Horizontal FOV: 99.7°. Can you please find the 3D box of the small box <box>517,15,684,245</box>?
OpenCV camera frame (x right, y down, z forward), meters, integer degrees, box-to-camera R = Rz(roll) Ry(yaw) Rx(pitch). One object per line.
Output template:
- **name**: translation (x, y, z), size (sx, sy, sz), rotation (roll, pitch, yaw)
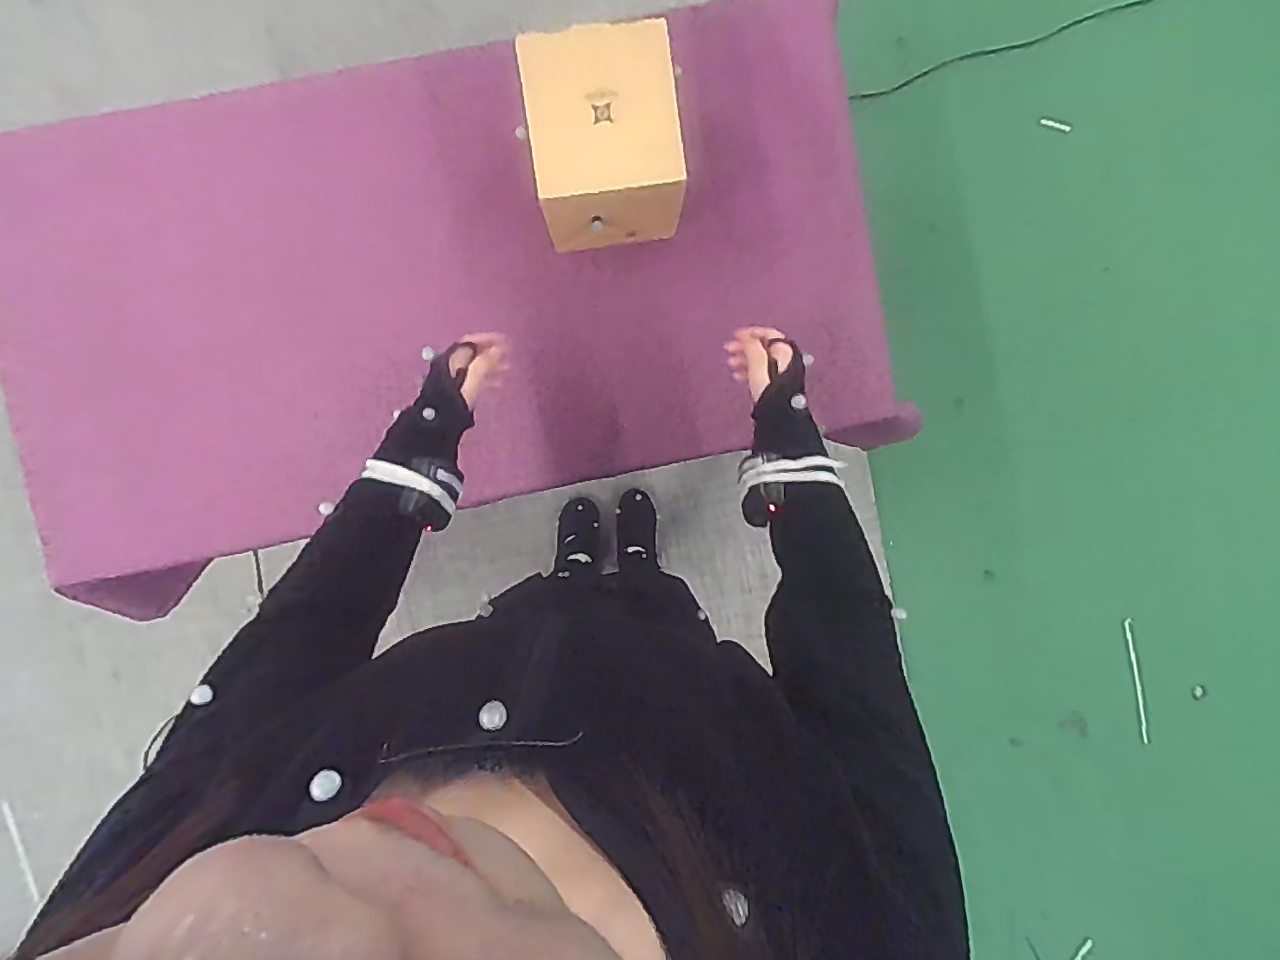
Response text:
- **small box**: translation (-0.041, -0.406, 0.662), size (0.168, 0.176, 0.179), rotation (-8, 92, 0)
